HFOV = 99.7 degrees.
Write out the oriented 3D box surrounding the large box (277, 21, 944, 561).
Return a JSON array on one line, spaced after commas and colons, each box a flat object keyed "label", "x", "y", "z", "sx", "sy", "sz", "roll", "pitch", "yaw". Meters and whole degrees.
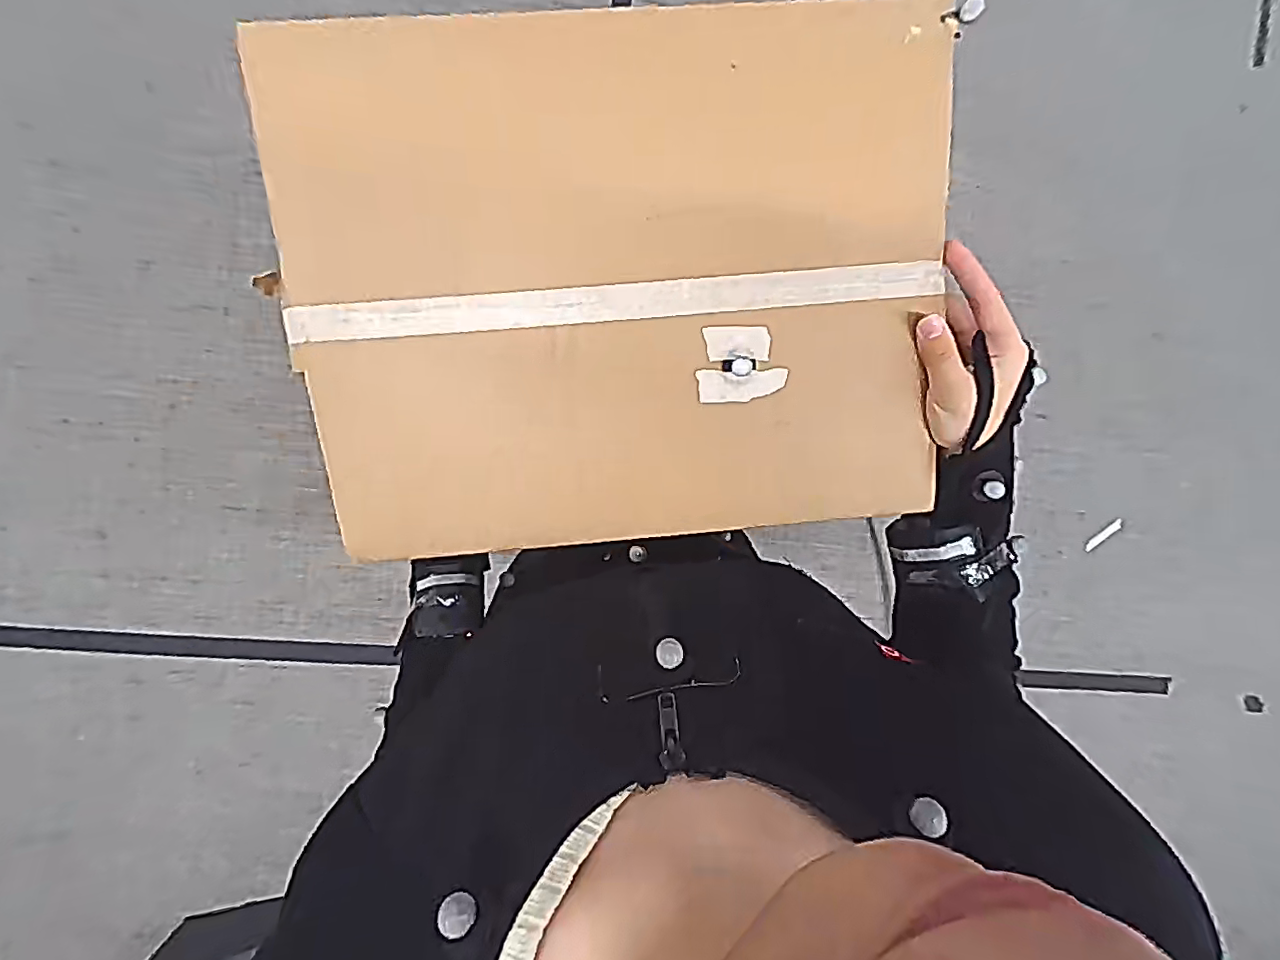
[{"label": "large box", "x": -0.012, "y": -0.143, "z": 0.494, "sx": 0.408, "sy": 0.320, "sz": 0.320, "roll": -5, "pitch": 103, "yaw": -4}]
